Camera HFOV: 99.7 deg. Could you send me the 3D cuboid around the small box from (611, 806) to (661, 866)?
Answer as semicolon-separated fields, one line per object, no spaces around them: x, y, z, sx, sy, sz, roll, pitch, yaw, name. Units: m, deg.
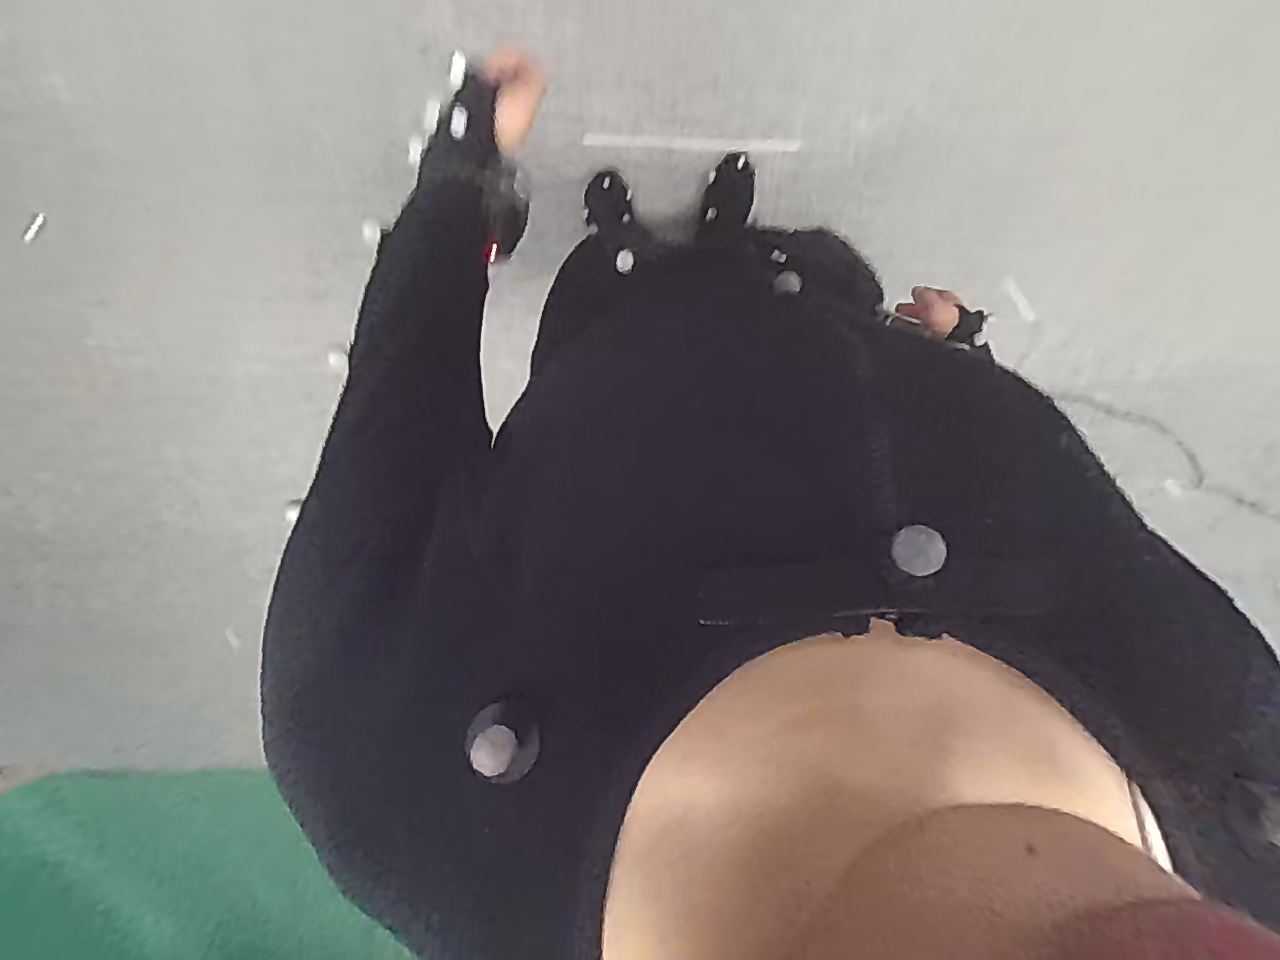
-0.019;1.678;2.556;0.179;0.176;0.168;32;117;-18;small box
